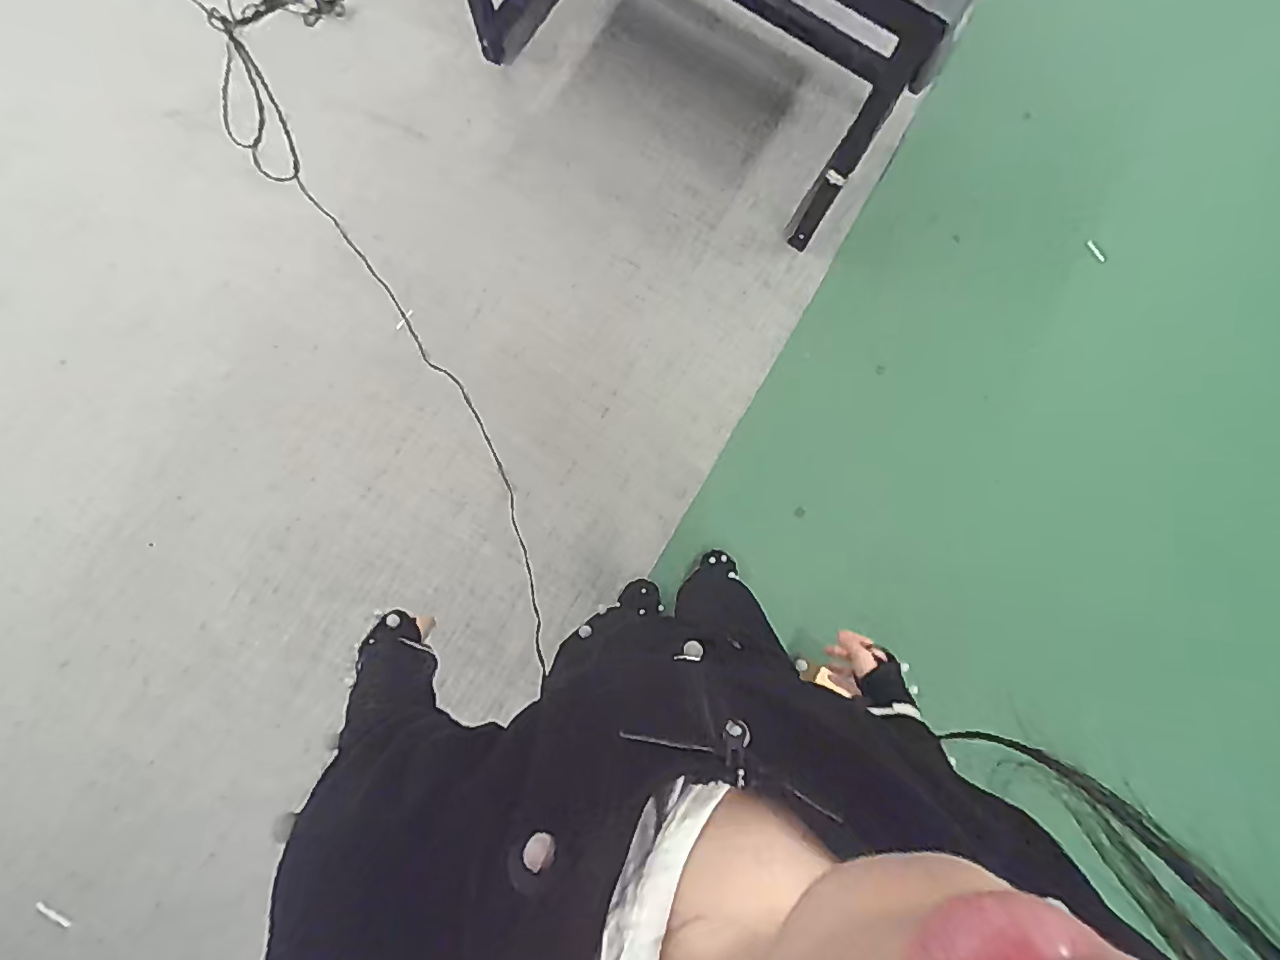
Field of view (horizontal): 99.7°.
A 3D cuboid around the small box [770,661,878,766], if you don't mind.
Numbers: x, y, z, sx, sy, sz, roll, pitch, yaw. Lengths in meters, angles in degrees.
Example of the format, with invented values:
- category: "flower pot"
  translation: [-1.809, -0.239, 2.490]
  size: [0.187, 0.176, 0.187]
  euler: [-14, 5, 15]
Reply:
- category: "small box"
  translation: [0.465, 0.588, 1.390]
  size: [0.179, 0.176, 0.168]
  euler: [31, 82, 1]
